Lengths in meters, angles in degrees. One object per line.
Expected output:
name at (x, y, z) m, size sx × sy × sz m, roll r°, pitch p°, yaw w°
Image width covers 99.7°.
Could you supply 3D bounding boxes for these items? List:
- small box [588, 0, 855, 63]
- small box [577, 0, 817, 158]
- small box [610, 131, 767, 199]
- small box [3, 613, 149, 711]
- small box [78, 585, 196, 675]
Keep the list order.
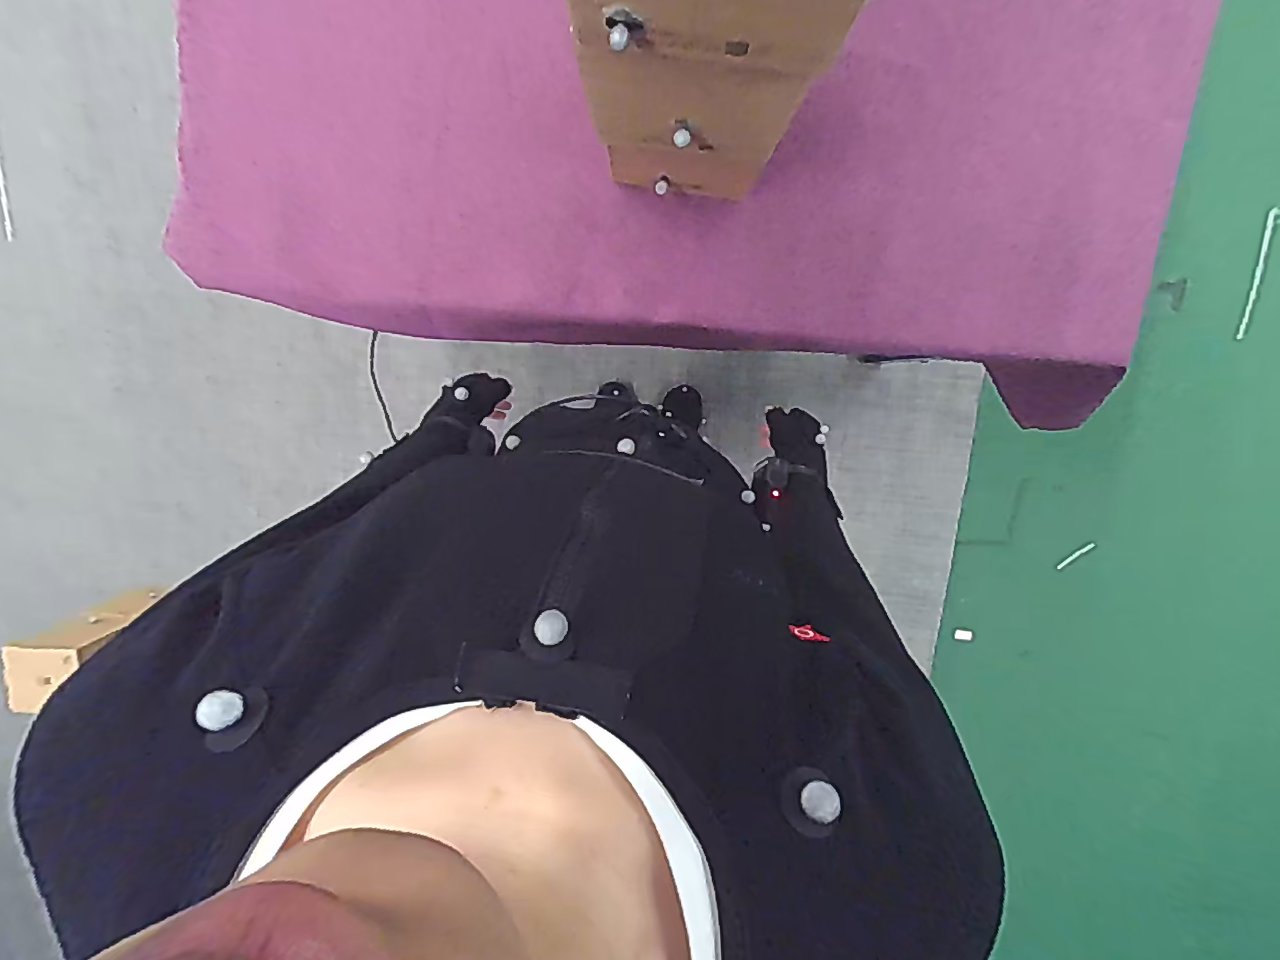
small box at (0.051, -0.348, 0.261) m, size 0.168 × 0.176 × 0.179 m, roll 8°, pitch 100°, yaw 0°
small box at (0.050, -0.387, 0.421) m, size 0.168 × 0.176 × 0.179 m, roll 7°, pitch 100°, yaw 0°
small box at (0.058, -0.431, 0.579) m, size 0.168 × 0.176 × 0.179 m, roll 8°, pitch 101°, yaw 0°
small box at (-1.363, 0.436, 1.317) m, size 0.179 × 0.176 × 0.168 m, roll 3°, pitch 101°, yaw 1°
small box at (-1.363, 0.406, 1.479) m, size 0.168 × 0.176 × 0.179 m, roll 3°, pitch 100°, yaw -1°
